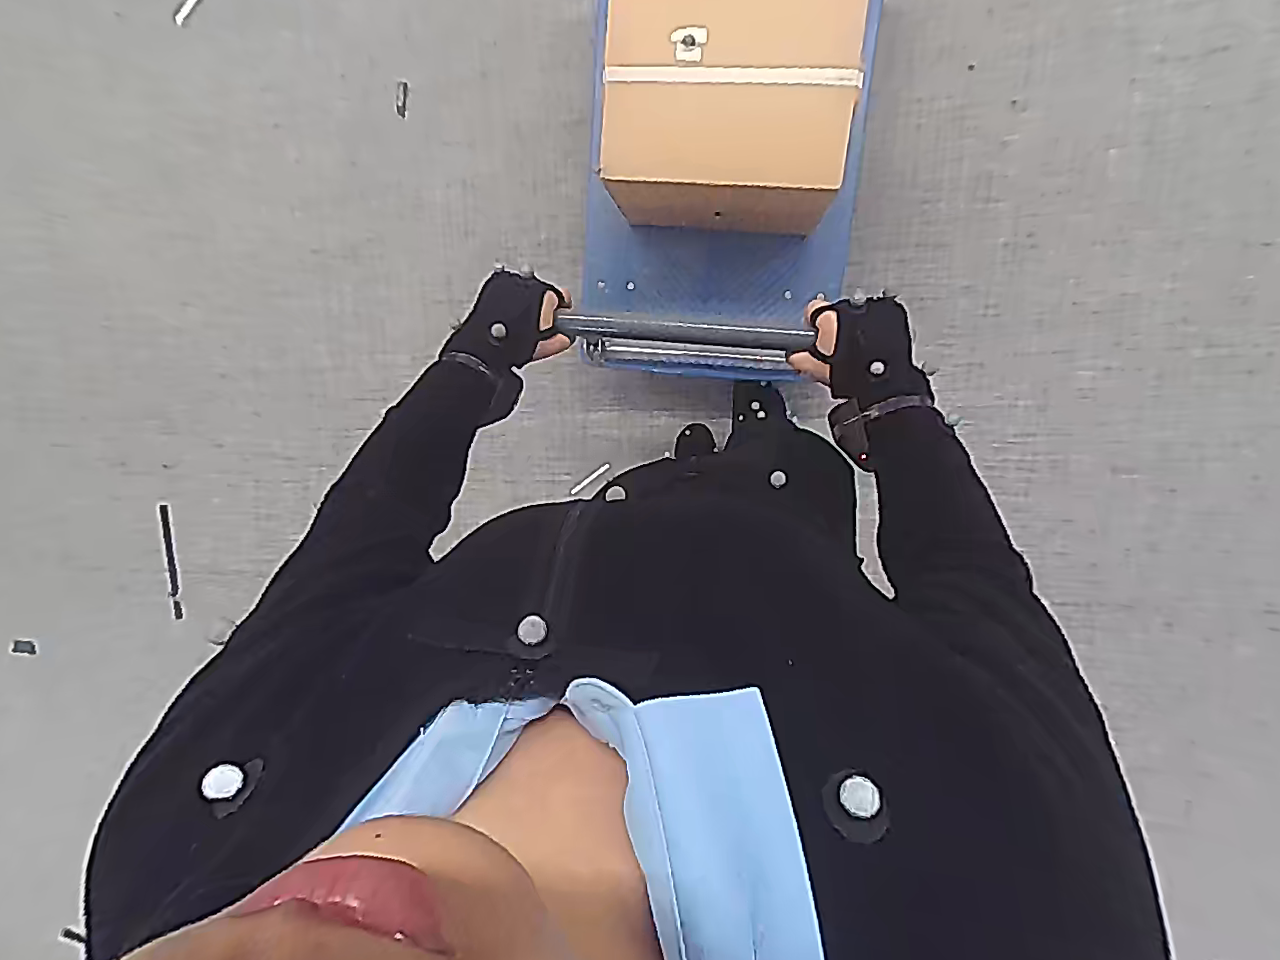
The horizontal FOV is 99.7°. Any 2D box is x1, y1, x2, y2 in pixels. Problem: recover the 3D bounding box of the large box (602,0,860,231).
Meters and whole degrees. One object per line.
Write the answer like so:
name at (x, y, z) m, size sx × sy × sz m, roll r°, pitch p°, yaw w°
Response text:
large box at (0.164, -0.678, 1.034) m, size 0.408 × 0.320 × 0.320 m, roll 7°, pitch 101°, yaw 8°
